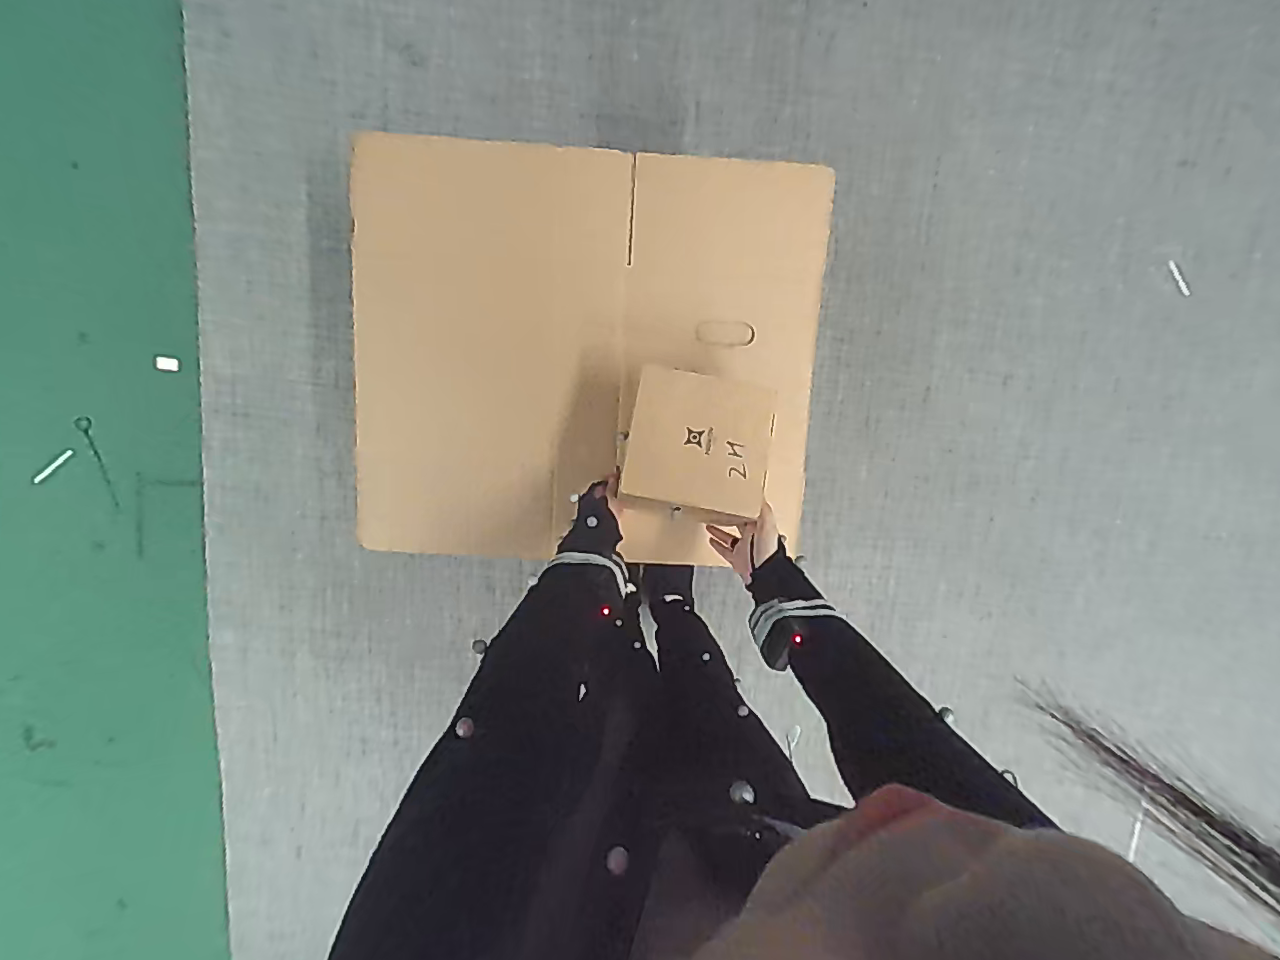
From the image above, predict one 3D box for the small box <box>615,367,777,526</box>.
[{"bbox_3d":[0.066,-0.033,0.735,0.179,0.176,0.168,11,82,-2],"label":"small box"}]
